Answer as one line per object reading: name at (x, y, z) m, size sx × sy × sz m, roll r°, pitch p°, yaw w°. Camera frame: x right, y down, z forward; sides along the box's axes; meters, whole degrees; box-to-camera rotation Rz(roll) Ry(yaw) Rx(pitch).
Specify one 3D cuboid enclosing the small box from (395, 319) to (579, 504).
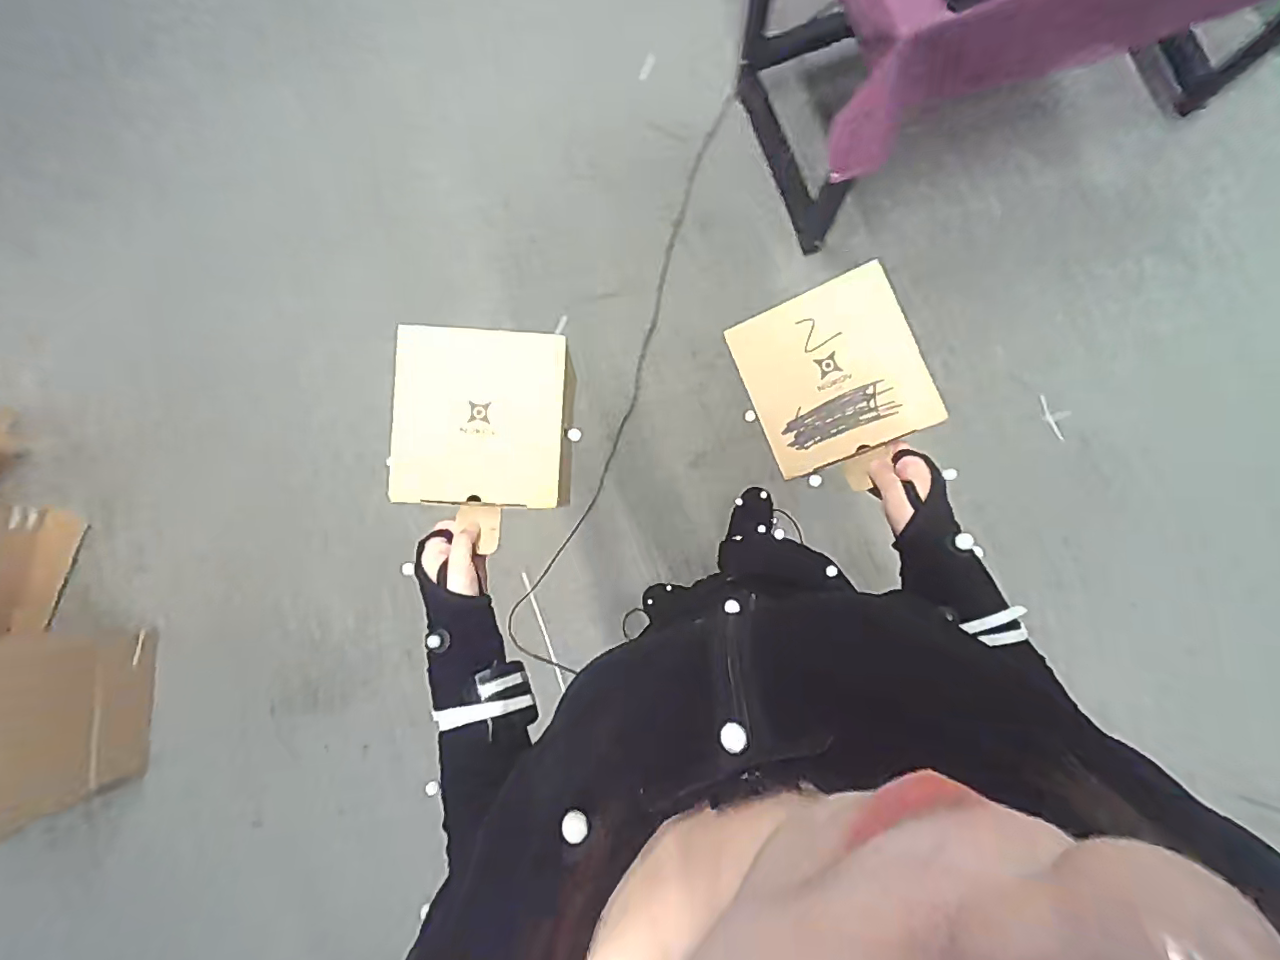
small box at (-0.160, -0.067, 0.619) m, size 0.168 × 0.176 × 0.179 m, roll 4°, pitch 89°, yaw -4°
